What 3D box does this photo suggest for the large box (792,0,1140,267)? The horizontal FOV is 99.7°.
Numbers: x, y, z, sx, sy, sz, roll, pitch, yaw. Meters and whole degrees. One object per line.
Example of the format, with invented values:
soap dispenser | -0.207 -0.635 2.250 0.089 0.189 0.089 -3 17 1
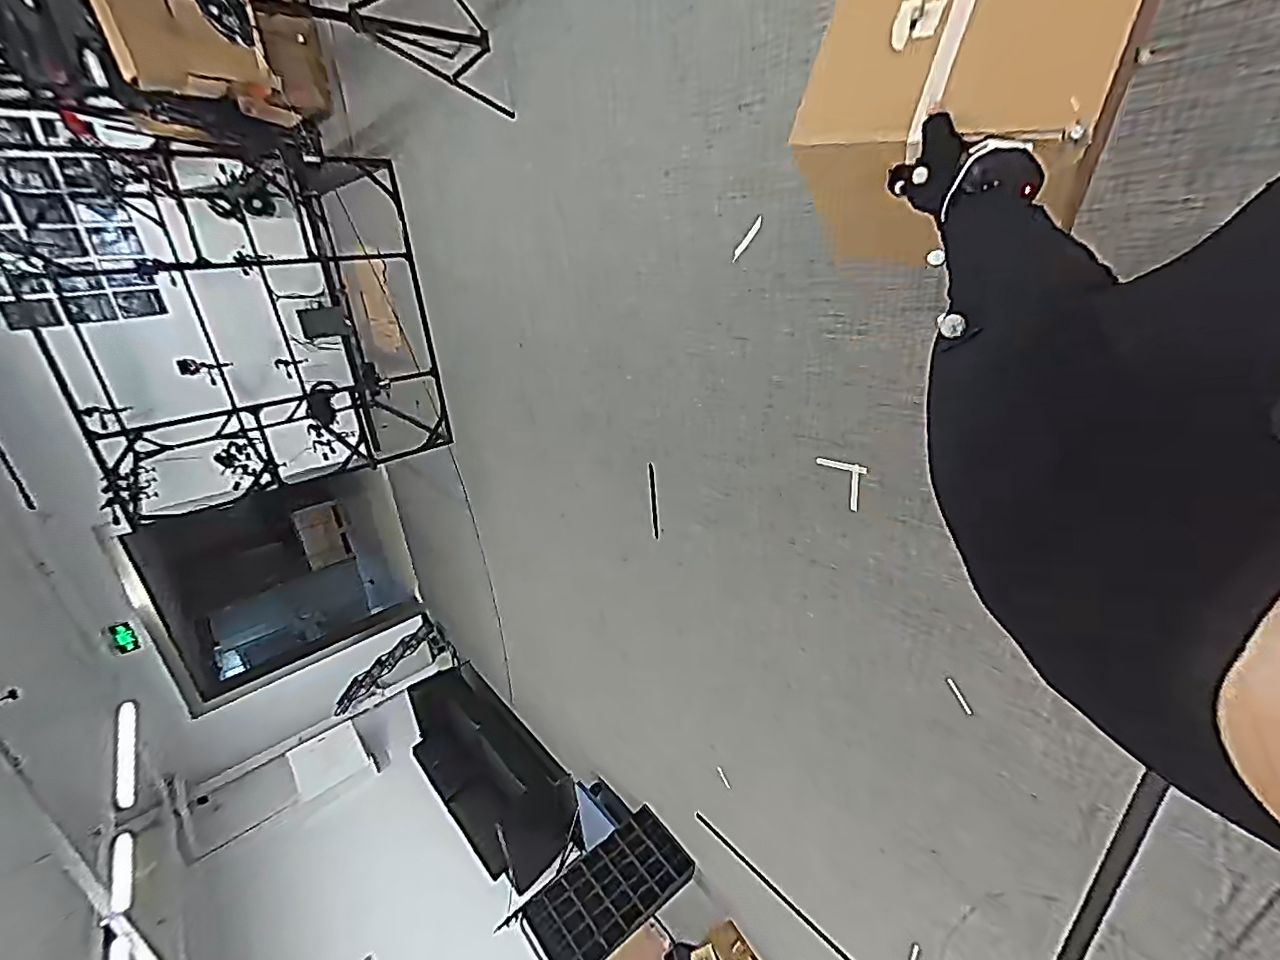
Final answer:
large box | 0.452 -0.555 0.729 0.320 0.320 0.408 20 96 34
